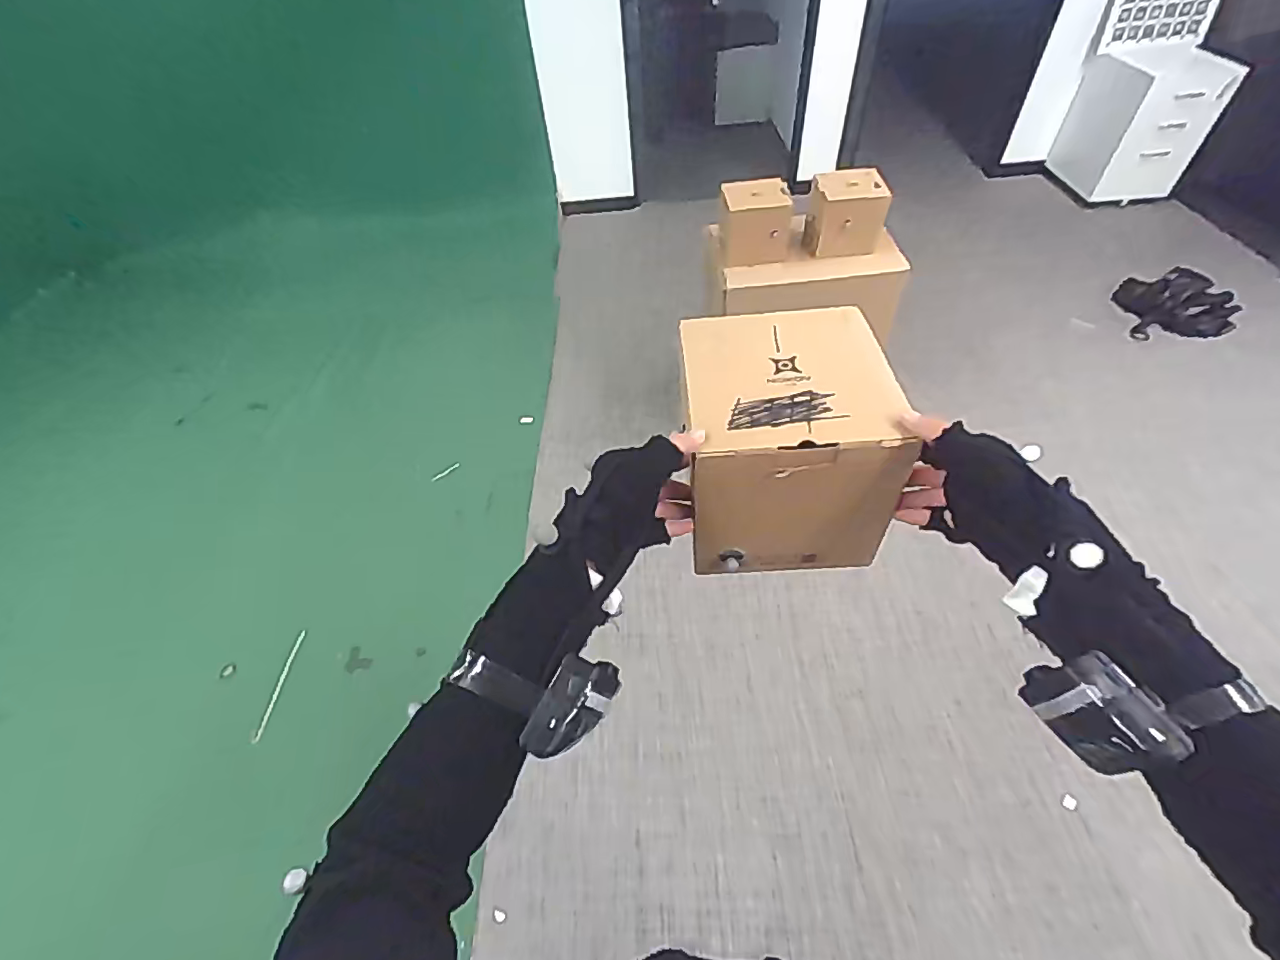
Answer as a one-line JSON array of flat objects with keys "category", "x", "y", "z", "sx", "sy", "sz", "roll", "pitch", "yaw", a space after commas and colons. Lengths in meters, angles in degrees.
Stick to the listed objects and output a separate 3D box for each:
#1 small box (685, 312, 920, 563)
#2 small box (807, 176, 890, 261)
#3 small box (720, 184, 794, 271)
[{"category": "small box", "x": 0.130, "y": -0.033, "z": 0.507, "sx": 0.168, "sy": 0.176, "sz": 0.179, "roll": -3, "pitch": 47, "yaw": 3}, {"category": "small box", "x": 0.598, "y": -0.761, "z": 1.581, "sx": 0.179, "sy": 0.176, "sz": 0.168, "roll": -4, "pitch": 53, "yaw": 2}, {"category": "small box", "x": 0.337, "y": -0.738, "z": 1.586, "sx": 0.179, "sy": 0.176, "sz": 0.168, "roll": -6, "pitch": 52, "yaw": 1}]
